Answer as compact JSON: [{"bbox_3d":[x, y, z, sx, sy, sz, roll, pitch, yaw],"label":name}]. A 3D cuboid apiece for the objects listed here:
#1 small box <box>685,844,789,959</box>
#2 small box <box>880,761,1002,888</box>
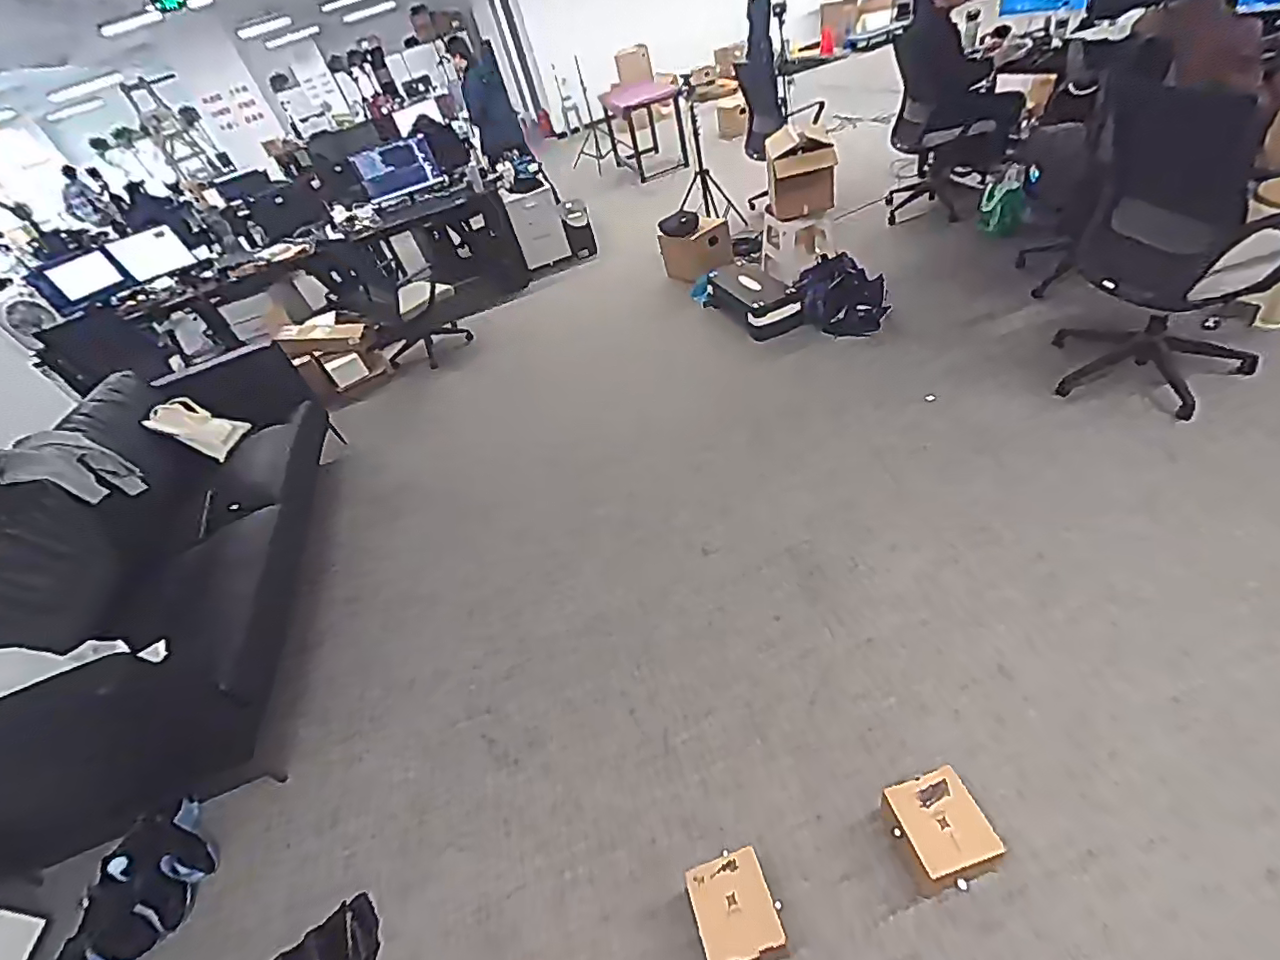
[{"bbox_3d":[0.214,0.944,1.188,0.168,0.176,0.179,-20,41,-2],"label":"small box"},{"bbox_3d":[0.658,0.771,1.208,0.168,0.176,0.179,-21,42,-1],"label":"small box"}]
